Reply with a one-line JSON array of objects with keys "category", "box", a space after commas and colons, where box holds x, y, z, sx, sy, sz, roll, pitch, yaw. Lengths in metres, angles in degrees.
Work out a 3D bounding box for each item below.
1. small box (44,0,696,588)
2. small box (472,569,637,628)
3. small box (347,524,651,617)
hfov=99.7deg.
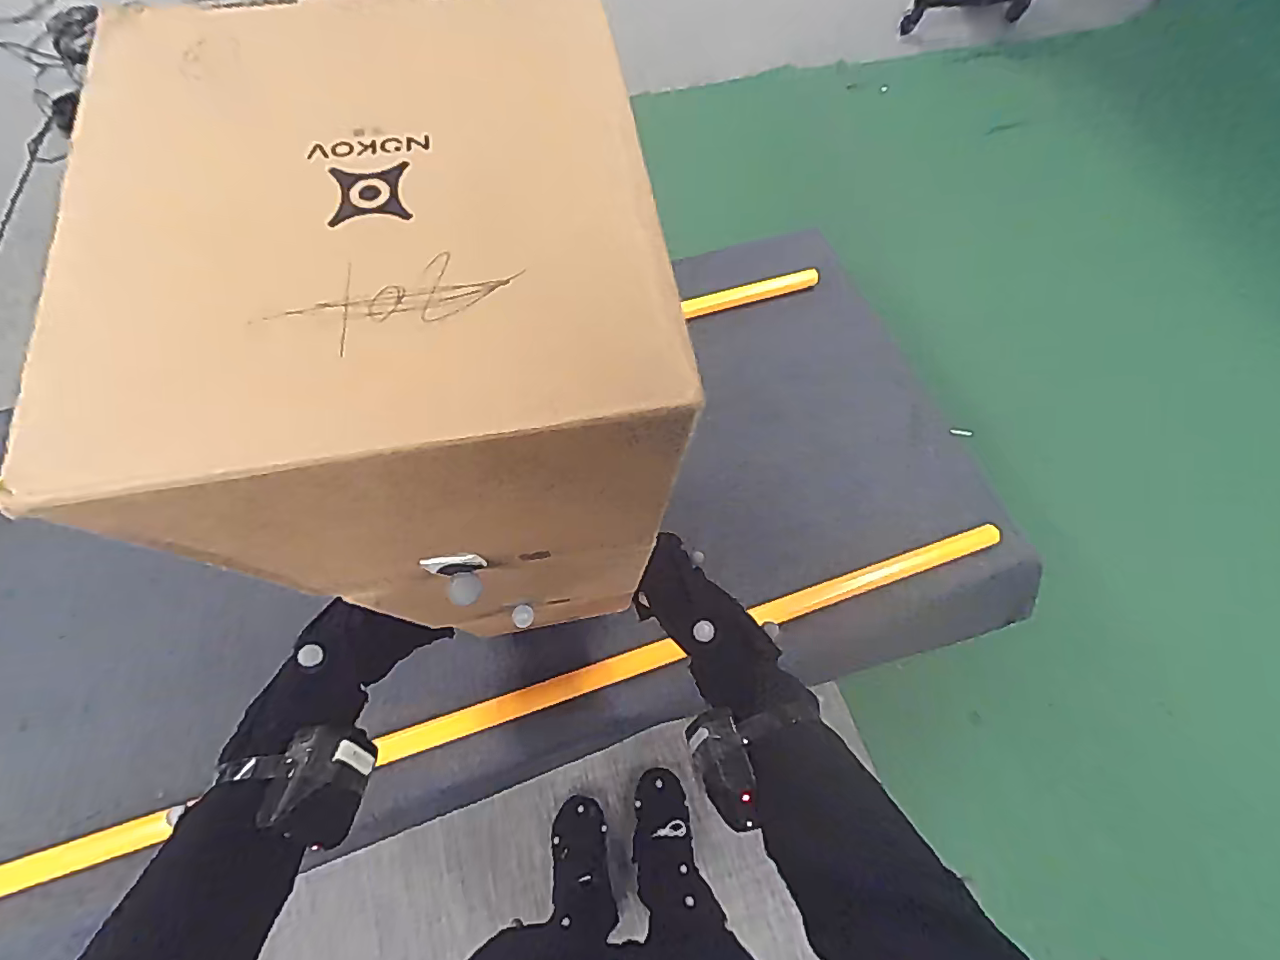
[{"category": "small box", "box": [-0.084, -0.061, 0.241, 0.168, 0.176, 0.179, -10, 73, -6]}, {"category": "small box", "box": [-0.102, 0.043, 0.551, 0.168, 0.176, 0.179, -10, 71, -7]}, {"category": "small box", "box": [-0.094, -0.008, 0.394, 0.168, 0.176, 0.179, -9, 72, -7]}]
